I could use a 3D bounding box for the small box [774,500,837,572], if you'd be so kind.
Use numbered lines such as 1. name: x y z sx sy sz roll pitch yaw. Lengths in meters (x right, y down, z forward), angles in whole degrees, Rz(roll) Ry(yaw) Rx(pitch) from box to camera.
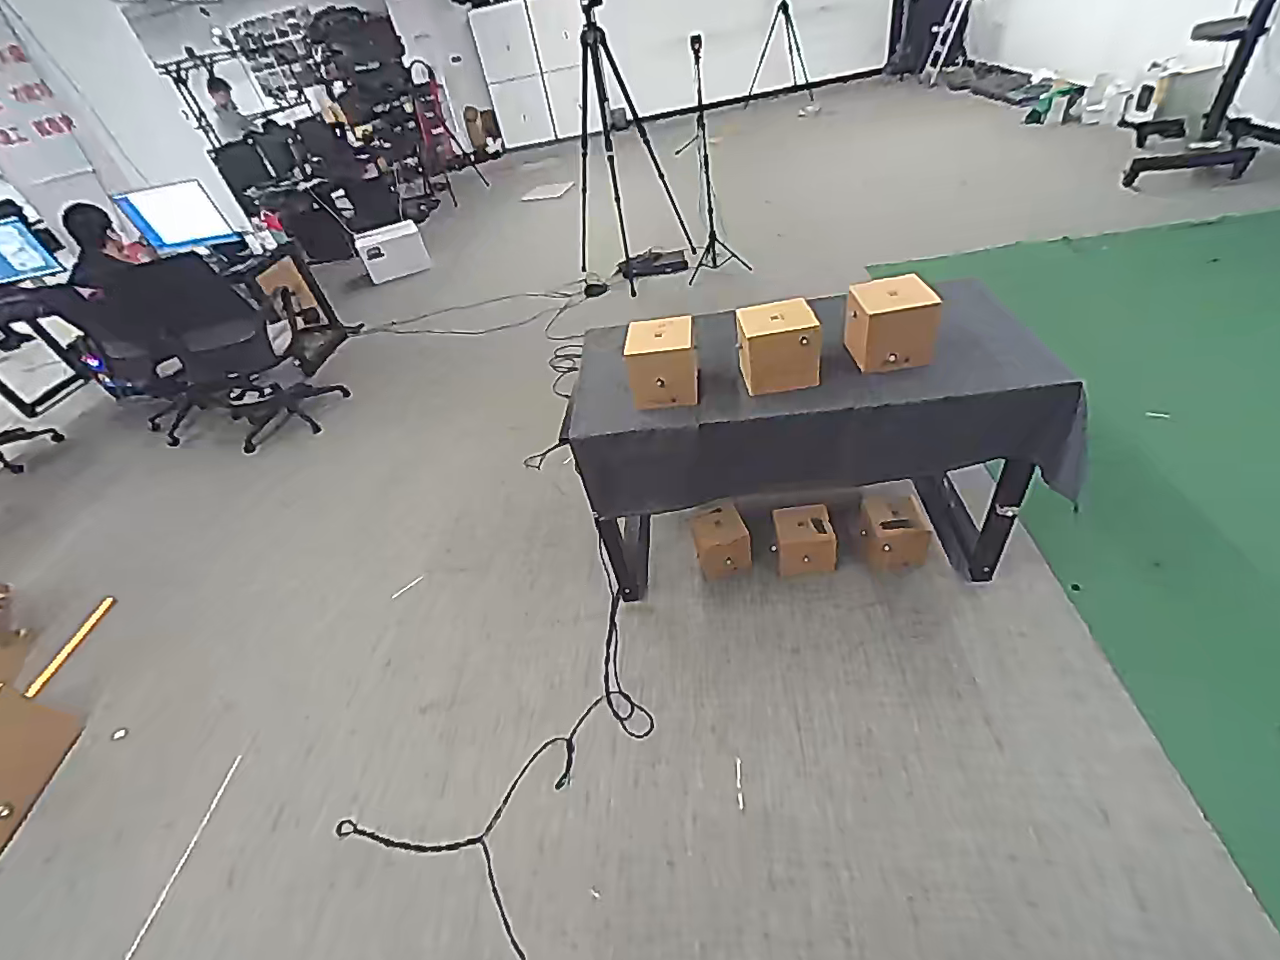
1. small box: 0.550 0.191 1.815 0.179 0.176 0.168 -7 41 8

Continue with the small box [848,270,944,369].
1. small box: 0.625 -0.397 1.347 0.168 0.176 0.179 -8 42 8

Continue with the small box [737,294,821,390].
1. small box: 0.348 -0.344 1.363 0.179 0.176 0.168 -8 41 5

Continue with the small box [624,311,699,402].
1. small box: 0.063 -0.312 1.398 0.168 0.176 0.179 -3 42 10
